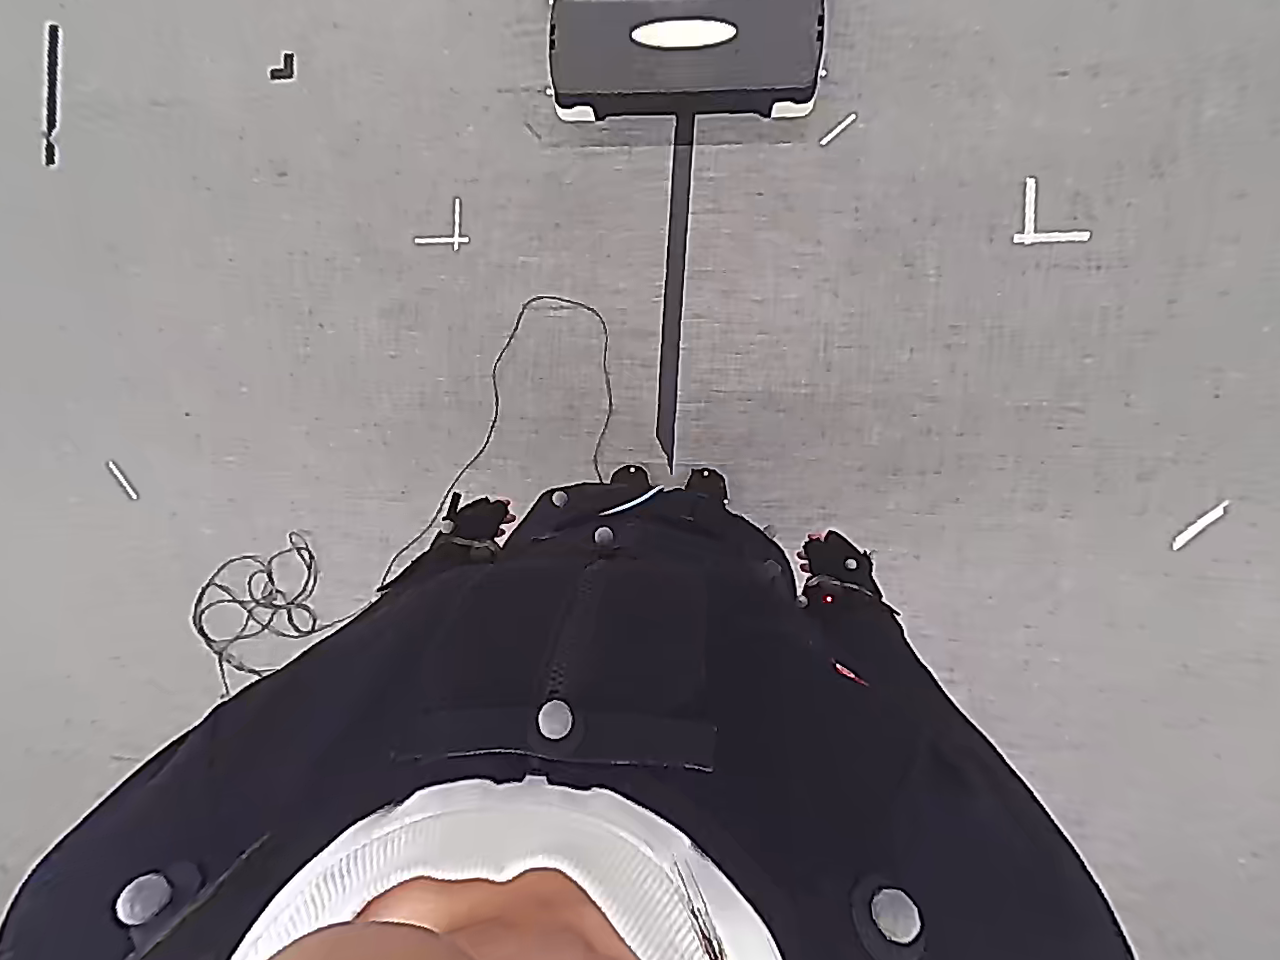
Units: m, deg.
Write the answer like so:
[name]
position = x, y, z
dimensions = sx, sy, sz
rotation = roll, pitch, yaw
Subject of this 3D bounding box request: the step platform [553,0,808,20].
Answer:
[step platform]
position = 0.098, -1.332, 1.288
dimensions = 0.684, 0.204, 0.286
rotation = 2, 93, 5
